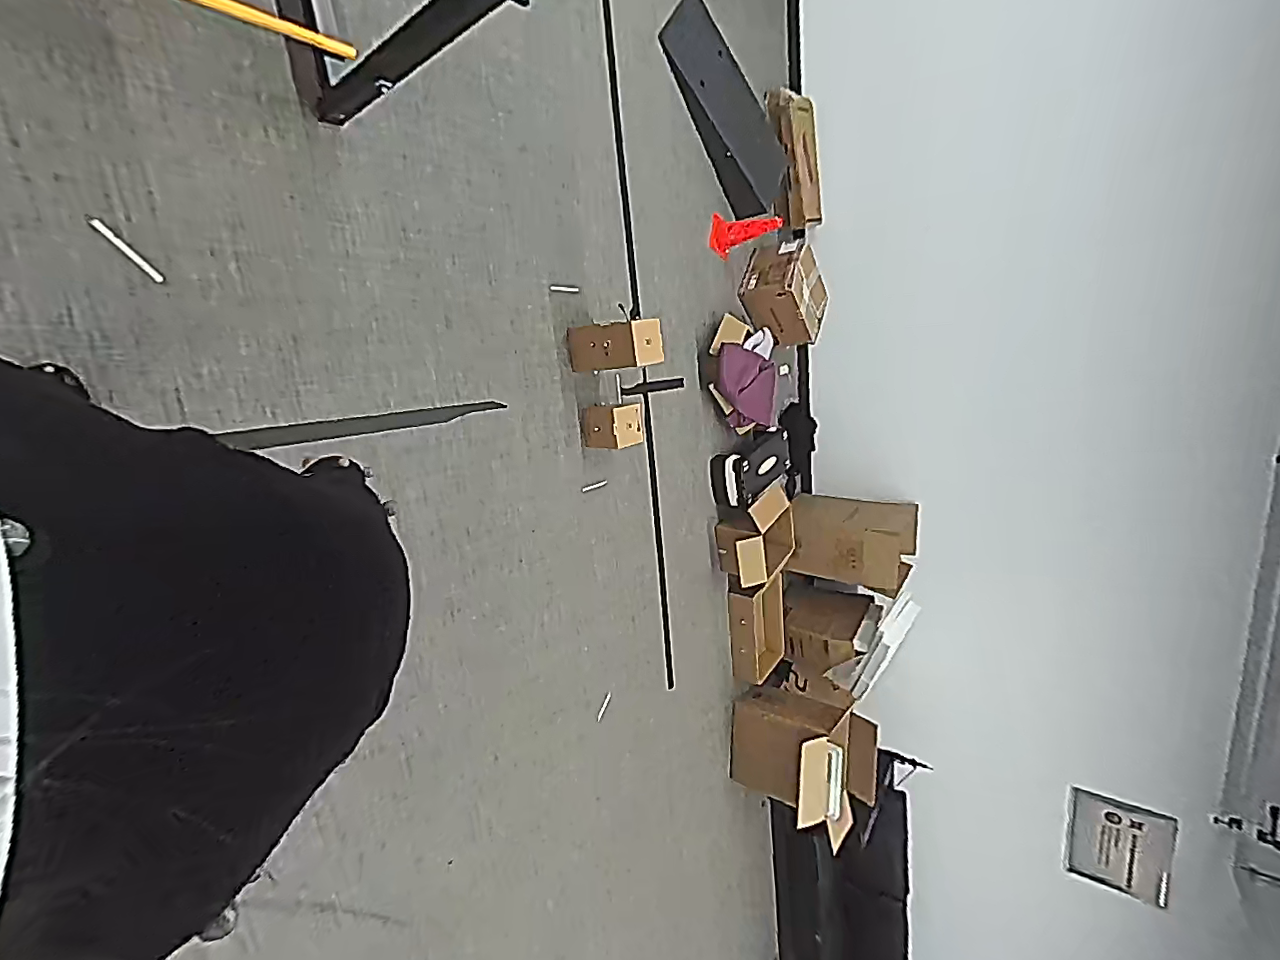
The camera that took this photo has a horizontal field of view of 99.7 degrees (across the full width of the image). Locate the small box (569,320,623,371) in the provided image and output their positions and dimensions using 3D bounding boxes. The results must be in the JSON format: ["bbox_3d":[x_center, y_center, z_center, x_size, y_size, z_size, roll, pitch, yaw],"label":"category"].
[{"bbox_3d":[-0.165,-0.531,2.140,0.168,0.176,0.179,-23,112,-49],"label":"small box"}]

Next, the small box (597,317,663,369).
[{"bbox_3d":[-0.038,-0.517,2.040,0.179,0.176,0.168,-26,112,-47],"label":"small box"}]

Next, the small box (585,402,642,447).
[{"bbox_3d":[-0.116,-0.230,2.239,0.179,0.176,0.168,-20,110,-49],"label":"small box"}]
